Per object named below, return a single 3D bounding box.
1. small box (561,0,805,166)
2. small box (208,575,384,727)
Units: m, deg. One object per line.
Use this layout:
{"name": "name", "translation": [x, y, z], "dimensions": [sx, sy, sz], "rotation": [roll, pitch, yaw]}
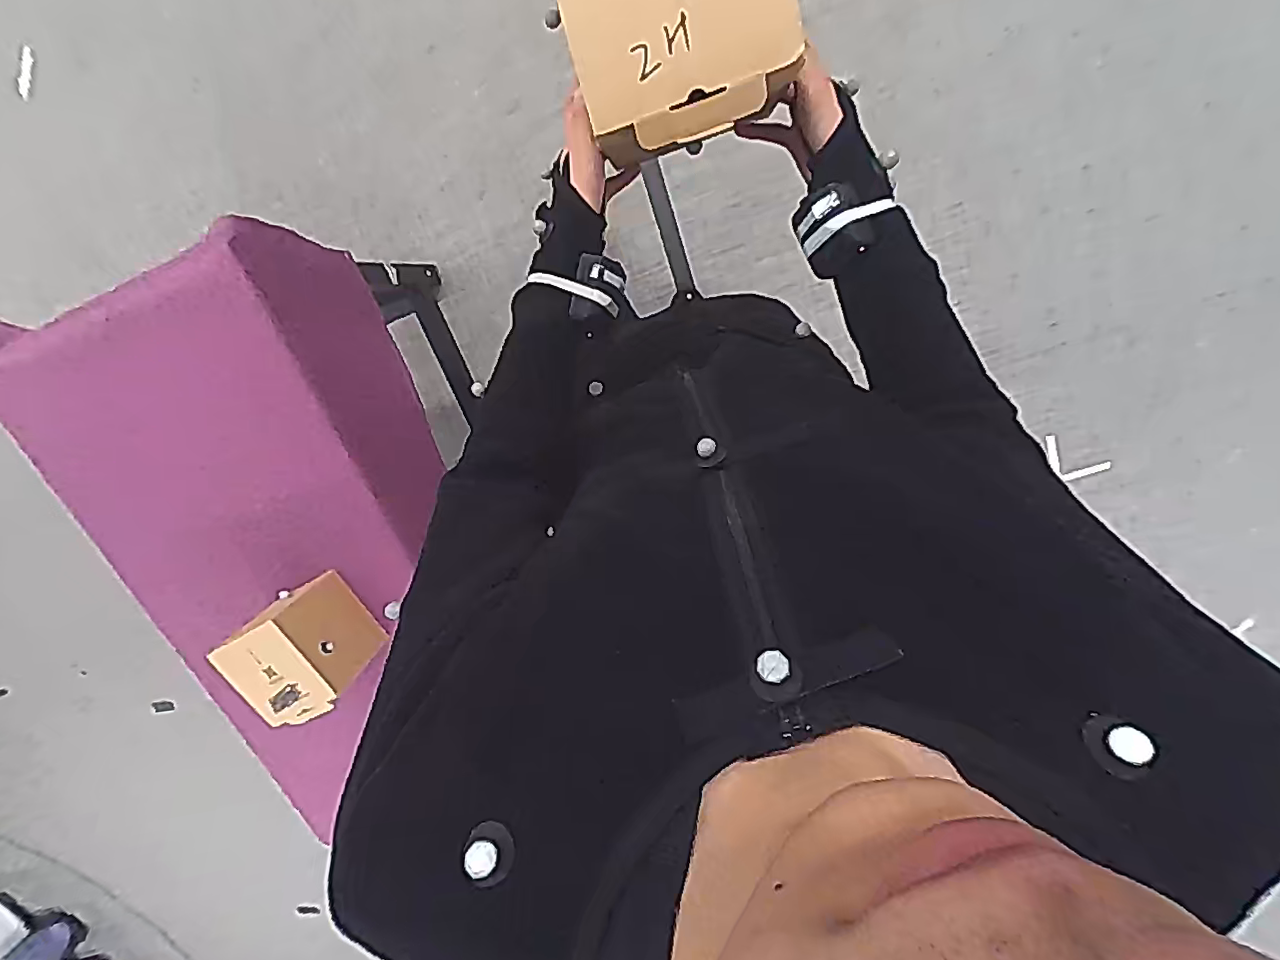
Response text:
{"name": "small box", "translation": [0.024, -0.393, 0.451], "dimensions": [0.168, 0.176, 0.179], "rotation": [-14, 111, 9]}
{"name": "small box", "translation": [-0.618, 0.308, 0.997], "dimensions": [0.168, 0.176, 0.179], "rotation": [-28, 105, 15]}
